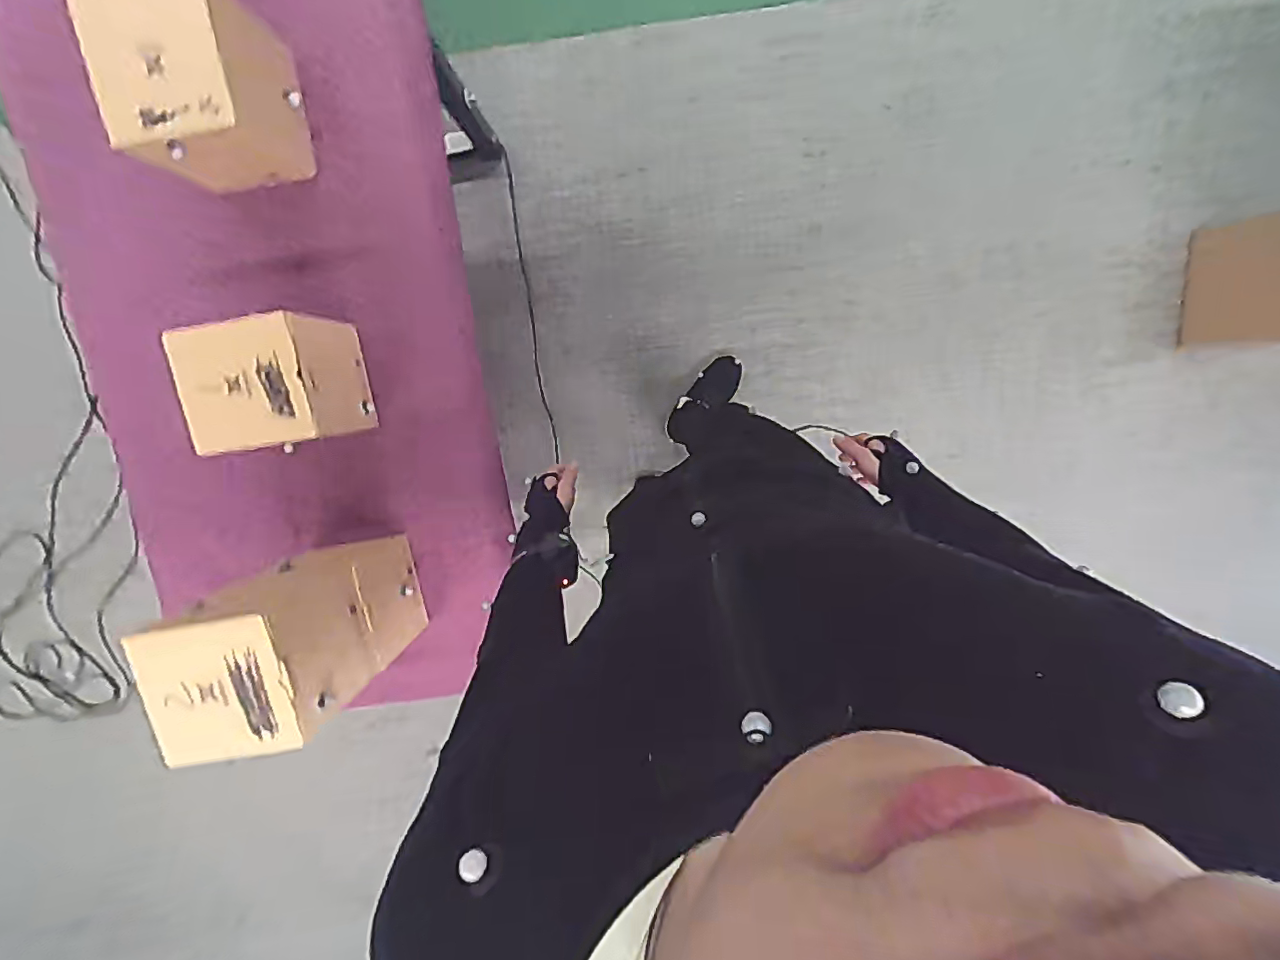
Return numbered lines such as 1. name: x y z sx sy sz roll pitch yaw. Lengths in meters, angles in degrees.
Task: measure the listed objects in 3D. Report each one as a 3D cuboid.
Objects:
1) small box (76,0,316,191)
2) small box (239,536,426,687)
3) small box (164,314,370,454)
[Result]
1. small box: -0.580 -0.522 0.731 0.168 0.176 0.179 -7 99 3
2. small box: -0.468 0.197 0.850 0.179 0.176 0.168 -10 99 3
3. small box: -0.526 -0.140 0.795 0.179 0.176 0.168 -9 99 4
